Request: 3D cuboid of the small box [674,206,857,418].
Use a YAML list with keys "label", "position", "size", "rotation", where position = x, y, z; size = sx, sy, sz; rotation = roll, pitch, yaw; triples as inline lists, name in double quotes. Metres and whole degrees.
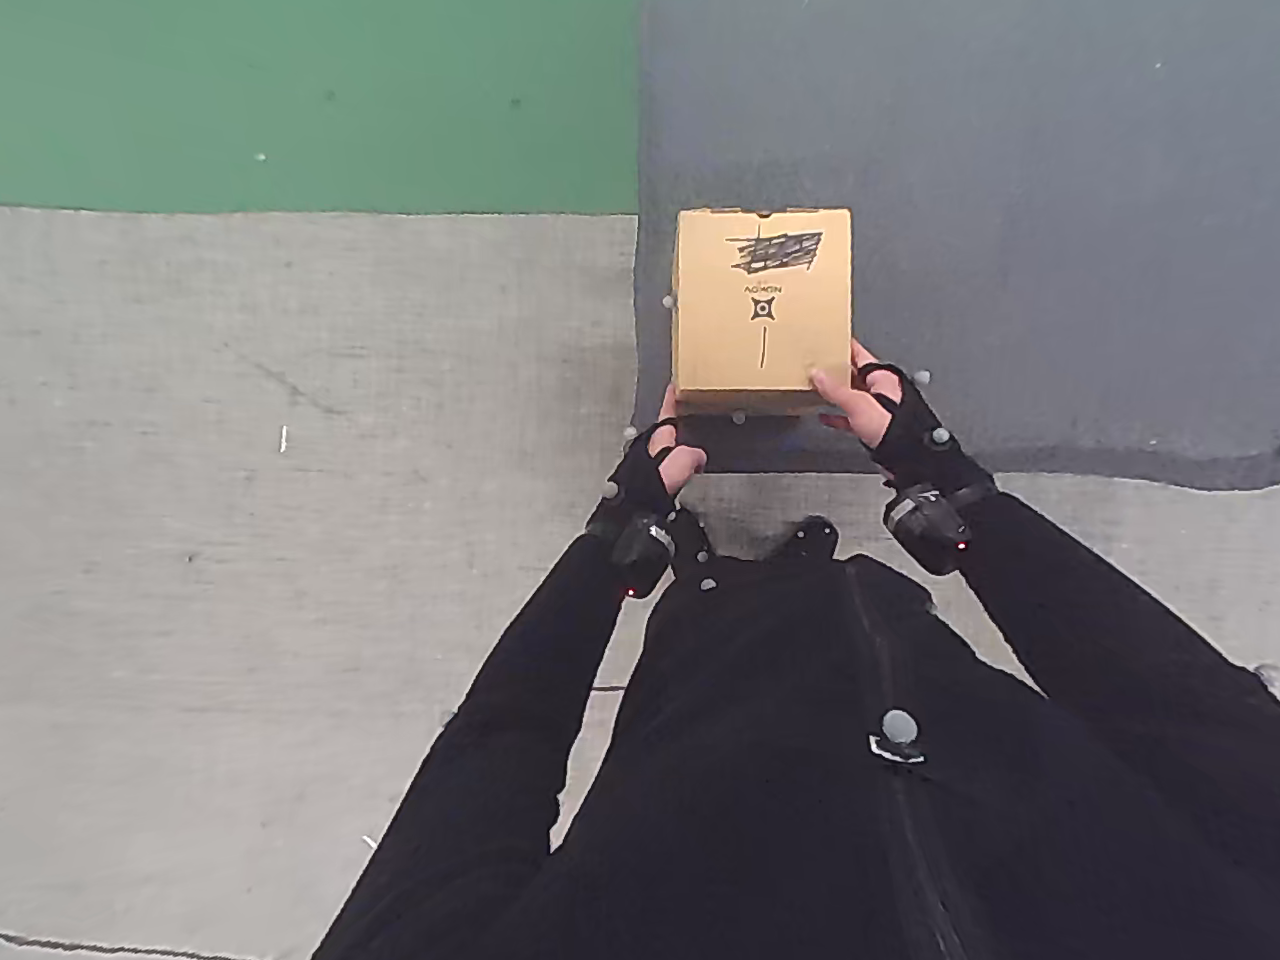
- label: "small box"
  position: [0.123, -0.169, 0.587]
  size: [0.168, 0.176, 0.179]
  rotation: [1, 88, 2]
